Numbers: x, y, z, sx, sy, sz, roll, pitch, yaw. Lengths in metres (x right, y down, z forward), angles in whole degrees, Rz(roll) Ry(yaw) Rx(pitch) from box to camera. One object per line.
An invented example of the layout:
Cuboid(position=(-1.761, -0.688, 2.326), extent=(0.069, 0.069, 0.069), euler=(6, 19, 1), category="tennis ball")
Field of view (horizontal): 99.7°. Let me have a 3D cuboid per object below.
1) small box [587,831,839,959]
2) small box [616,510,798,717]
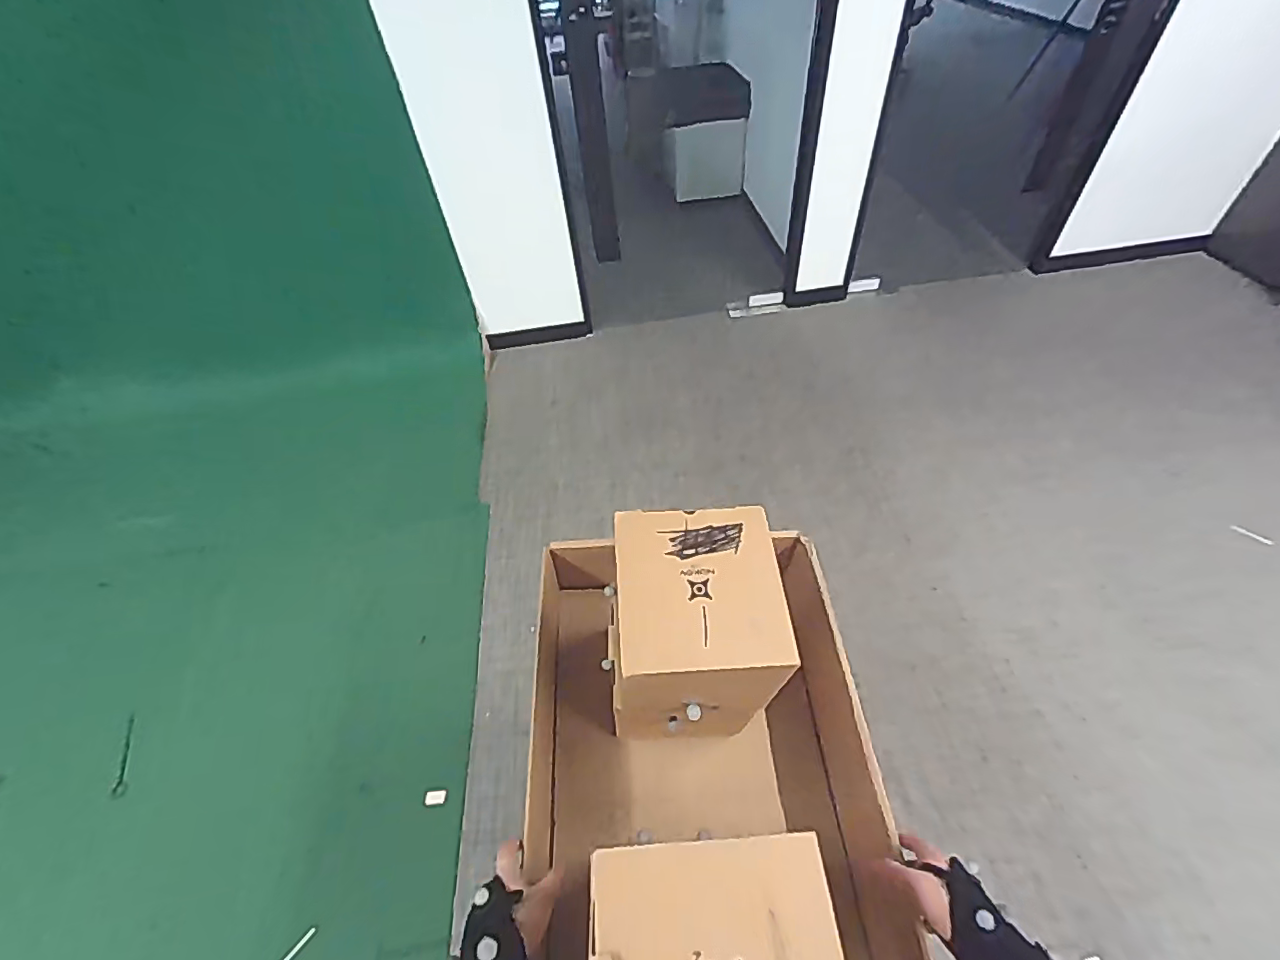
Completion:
Cuboid(position=(0.051, 0.390, 0.432), extent=(0.179, 0.176, 0.168), euler=(-2, 54, -5), category="small box")
Cuboid(position=(0.057, 0.151, 0.603), extent=(0.168, 0.176, 0.179), euler=(-2, 55, -3), category="small box")
